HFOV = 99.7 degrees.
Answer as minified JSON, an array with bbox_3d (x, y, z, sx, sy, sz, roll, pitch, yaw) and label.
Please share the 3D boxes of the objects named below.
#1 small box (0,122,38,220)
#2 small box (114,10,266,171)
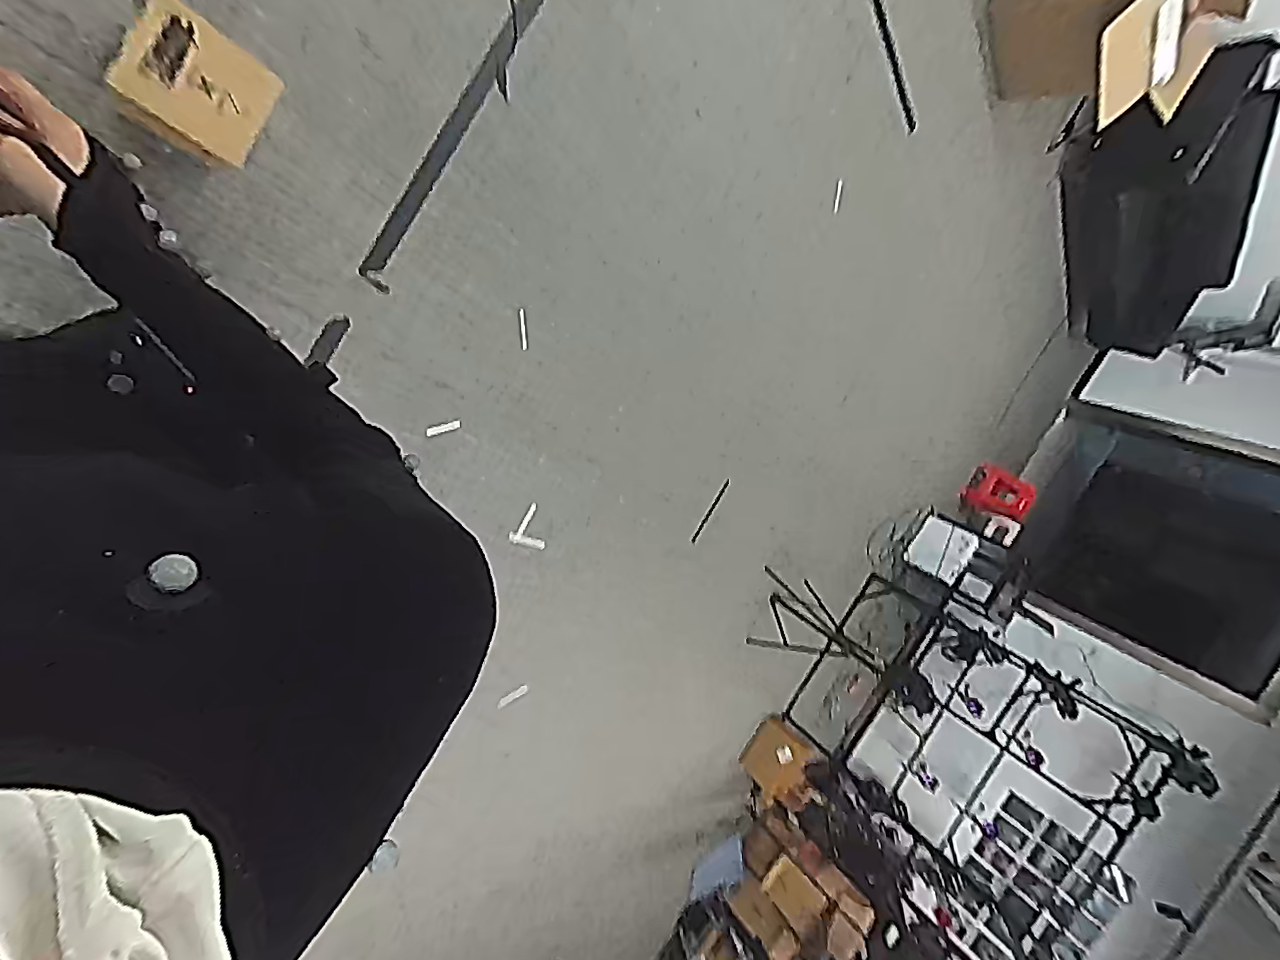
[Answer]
[{"bbox_3d":[-0.585,-0.276,0.376,0.179,0.176,0.168,-31,117,-32],"label":"small box"},{"bbox_3d":[-0.838,-0.712,1.008,0.168,0.176,0.179,26,96,-47],"label":"small box"}]
